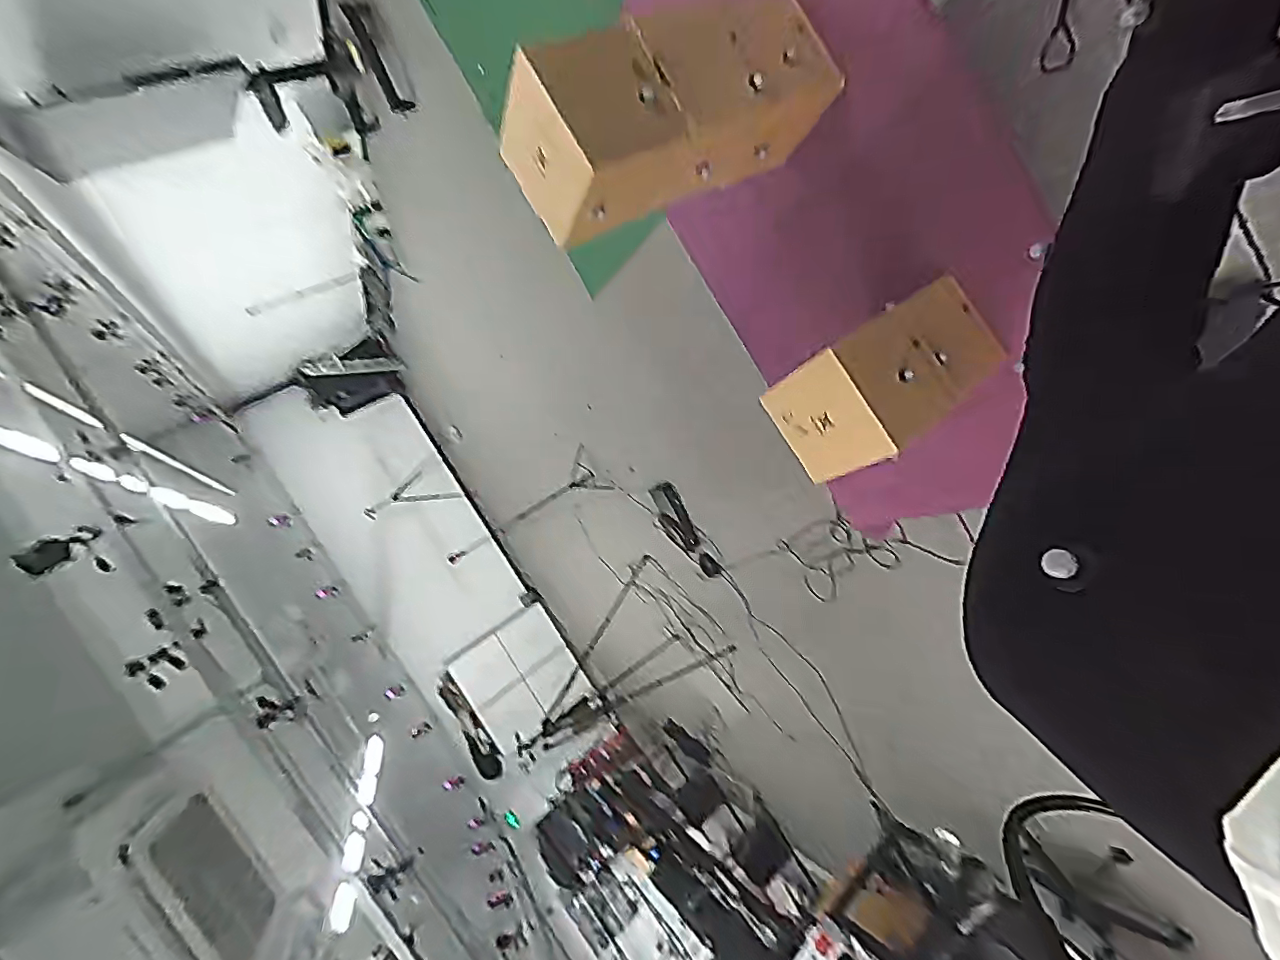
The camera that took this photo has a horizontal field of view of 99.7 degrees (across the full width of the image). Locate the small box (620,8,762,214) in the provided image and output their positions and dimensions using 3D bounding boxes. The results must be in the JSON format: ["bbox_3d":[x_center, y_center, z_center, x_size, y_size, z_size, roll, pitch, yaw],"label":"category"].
[{"bbox_3d":[0.053,-0.537,0.794,0.168,0.176,0.179,58,157,-3],"label":"small box"}]

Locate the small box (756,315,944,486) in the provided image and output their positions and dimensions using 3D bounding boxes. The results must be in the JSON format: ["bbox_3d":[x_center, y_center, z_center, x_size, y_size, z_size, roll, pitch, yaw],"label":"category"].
[{"bbox_3d":[0.317,-0.117,0.810,0.168,0.176,0.179,57,155,1],"label":"small box"}]

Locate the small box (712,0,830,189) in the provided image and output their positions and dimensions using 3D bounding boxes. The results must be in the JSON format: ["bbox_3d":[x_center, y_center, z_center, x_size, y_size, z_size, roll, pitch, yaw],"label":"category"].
[{"bbox_3d":[0.176,-0.618,0.869,0.168,0.176,0.179,57,156,-2],"label":"small box"}]

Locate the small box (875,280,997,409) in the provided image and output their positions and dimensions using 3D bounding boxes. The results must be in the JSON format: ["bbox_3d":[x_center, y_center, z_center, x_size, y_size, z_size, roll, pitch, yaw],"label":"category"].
[{"bbox_3d":[0.437,-0.194,0.896,0.168,0.176,0.179,56,155,2],"label":"small box"}]

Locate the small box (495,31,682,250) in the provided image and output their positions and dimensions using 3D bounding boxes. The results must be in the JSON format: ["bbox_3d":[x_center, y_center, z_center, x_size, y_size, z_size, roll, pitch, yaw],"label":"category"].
[{"bbox_3d":[-0.072,-0.452,0.733,0.168,0.176,0.179,58,156,-5],"label":"small box"}]
